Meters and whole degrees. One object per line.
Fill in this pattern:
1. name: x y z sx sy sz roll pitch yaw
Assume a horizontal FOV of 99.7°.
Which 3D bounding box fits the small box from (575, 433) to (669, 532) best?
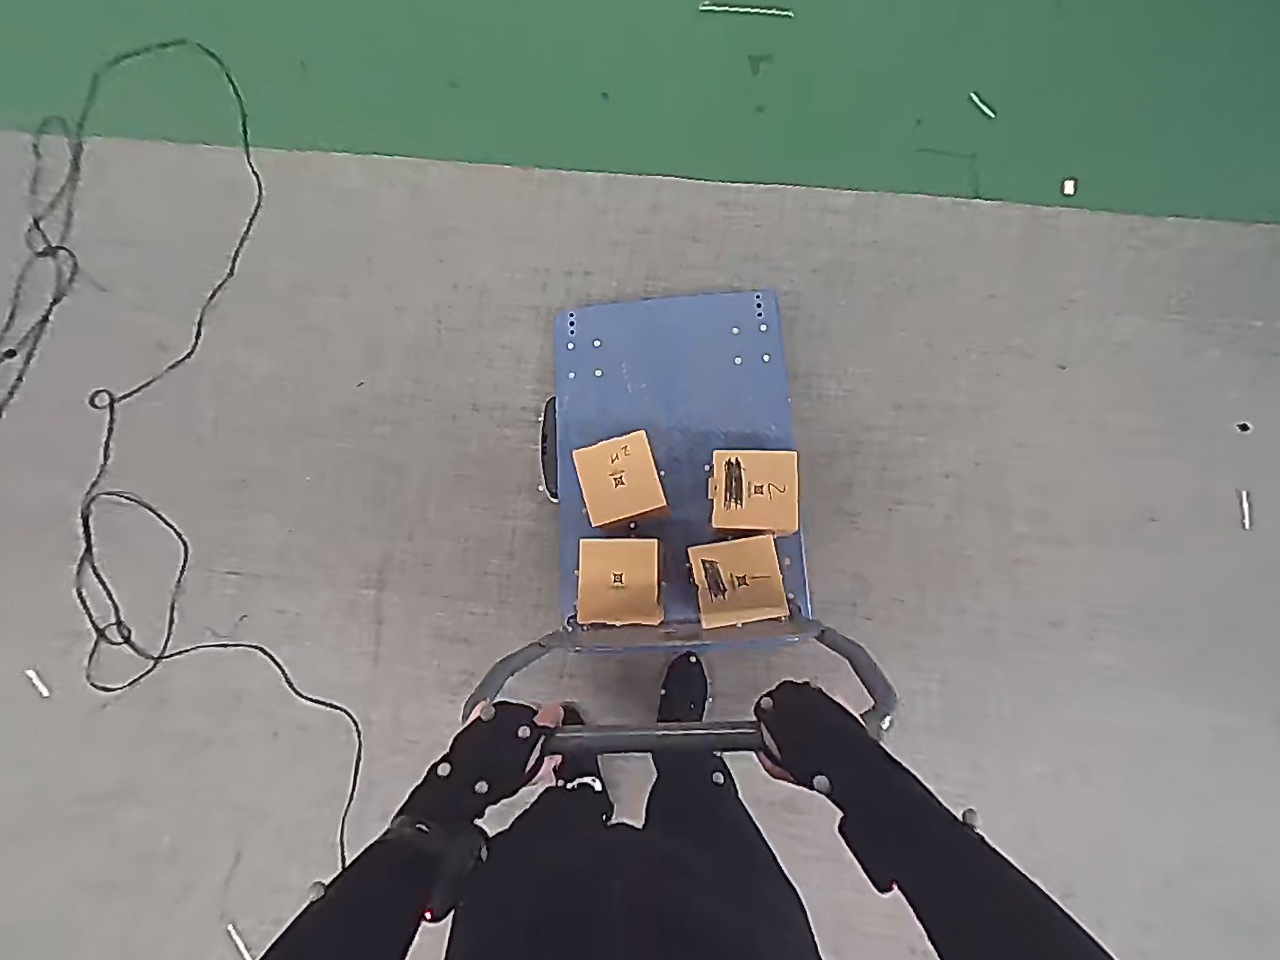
1. small box: -0.034 0.015 1.224 0.168 0.176 0.179 -16 78 2
